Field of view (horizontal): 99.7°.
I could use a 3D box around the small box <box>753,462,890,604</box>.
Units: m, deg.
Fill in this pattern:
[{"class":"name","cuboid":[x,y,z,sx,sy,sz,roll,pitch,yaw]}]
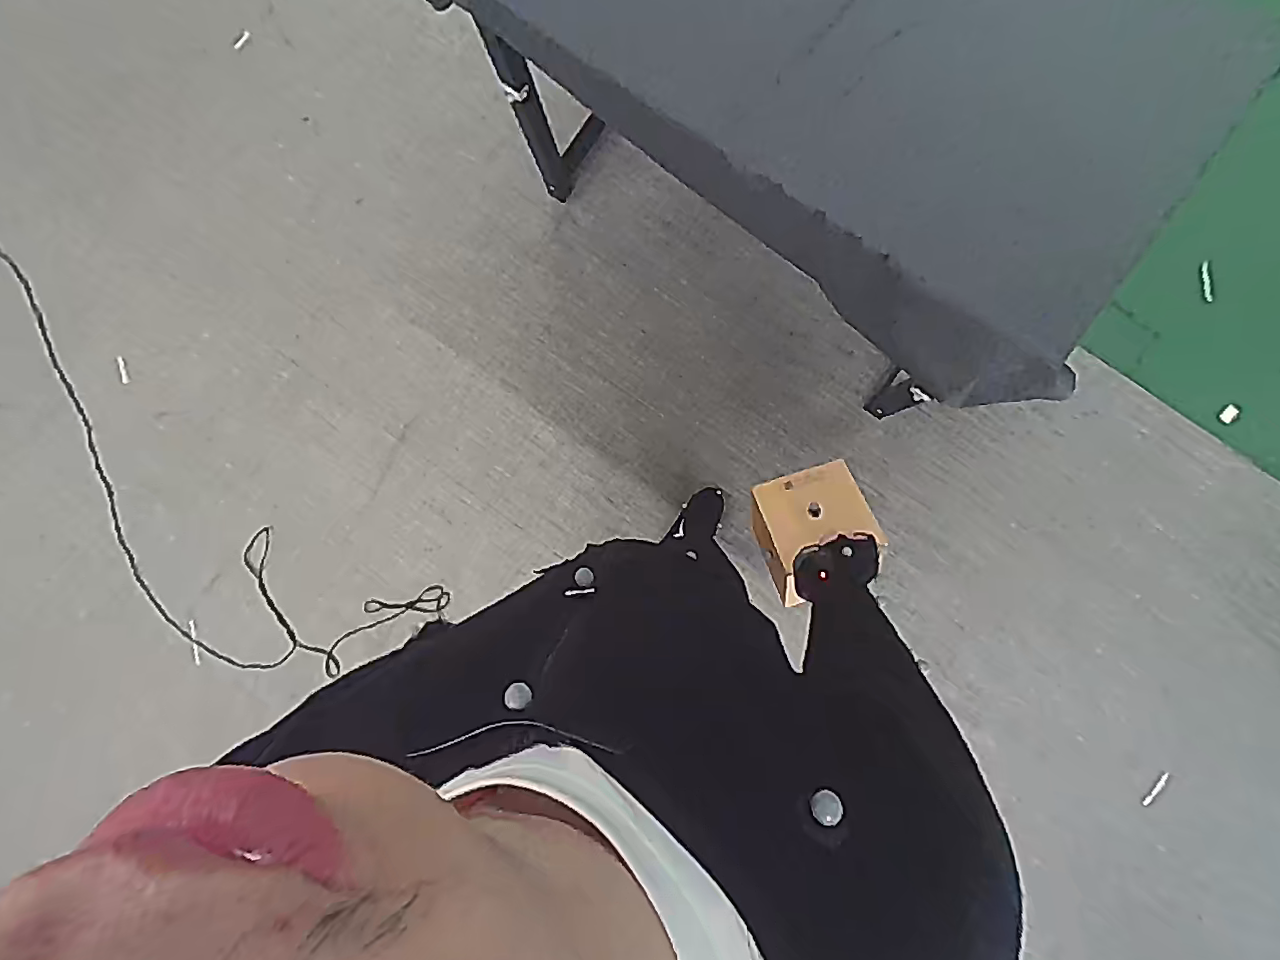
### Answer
[{"class":"small box","cuboid":[0.307,0.087,0.943,0.168,0.179,0.176,-21,57,4]}]
